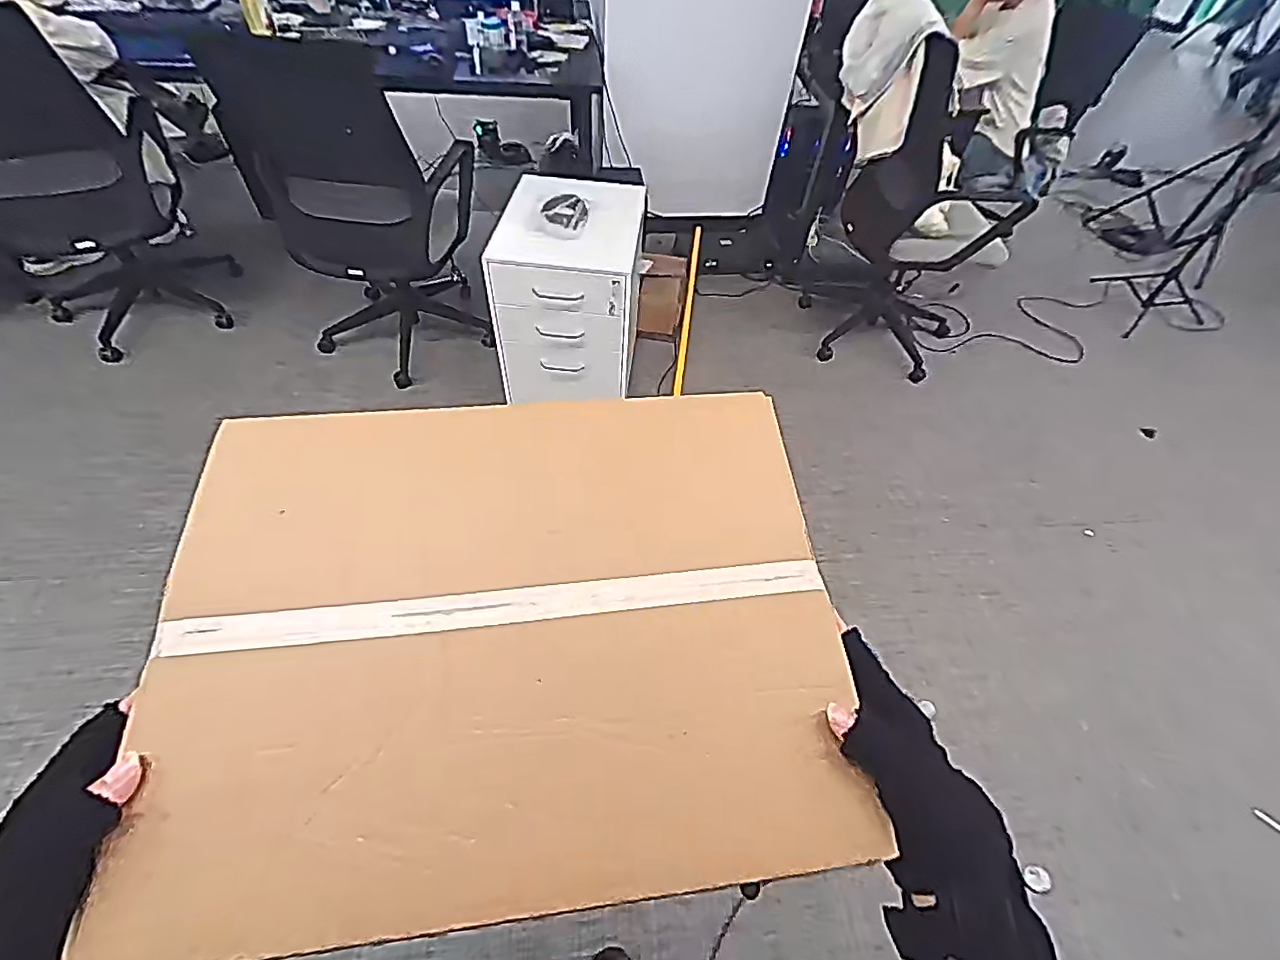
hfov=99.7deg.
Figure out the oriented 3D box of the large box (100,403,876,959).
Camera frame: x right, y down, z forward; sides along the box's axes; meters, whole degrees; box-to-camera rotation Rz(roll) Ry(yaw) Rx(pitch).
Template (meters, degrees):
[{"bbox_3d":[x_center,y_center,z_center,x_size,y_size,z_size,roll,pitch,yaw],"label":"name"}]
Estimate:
[{"bbox_3d":[-0.089,0.158,0.476,0.408,0.320,0.320,-4,61,-6],"label":"large box"}]
